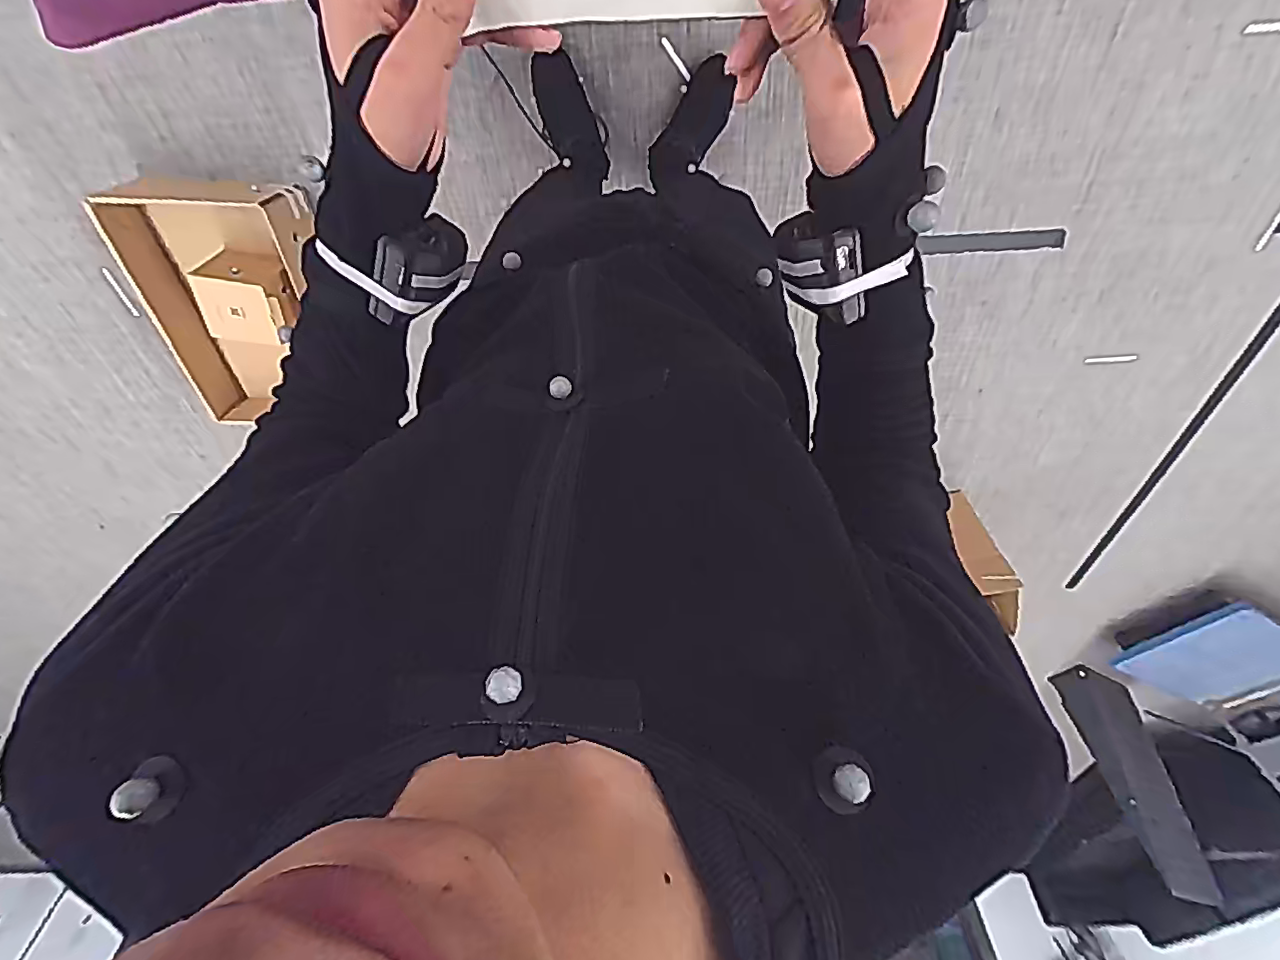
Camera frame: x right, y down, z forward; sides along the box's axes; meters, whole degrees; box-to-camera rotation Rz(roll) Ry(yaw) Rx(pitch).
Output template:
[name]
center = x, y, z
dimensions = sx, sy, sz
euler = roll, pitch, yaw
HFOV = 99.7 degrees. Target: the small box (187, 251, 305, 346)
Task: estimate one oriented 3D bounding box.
[small box]
center = -0.993, -0.469, 1.388
dimensions = 0.179, 0.176, 0.168
euler = 7, 132, -7
